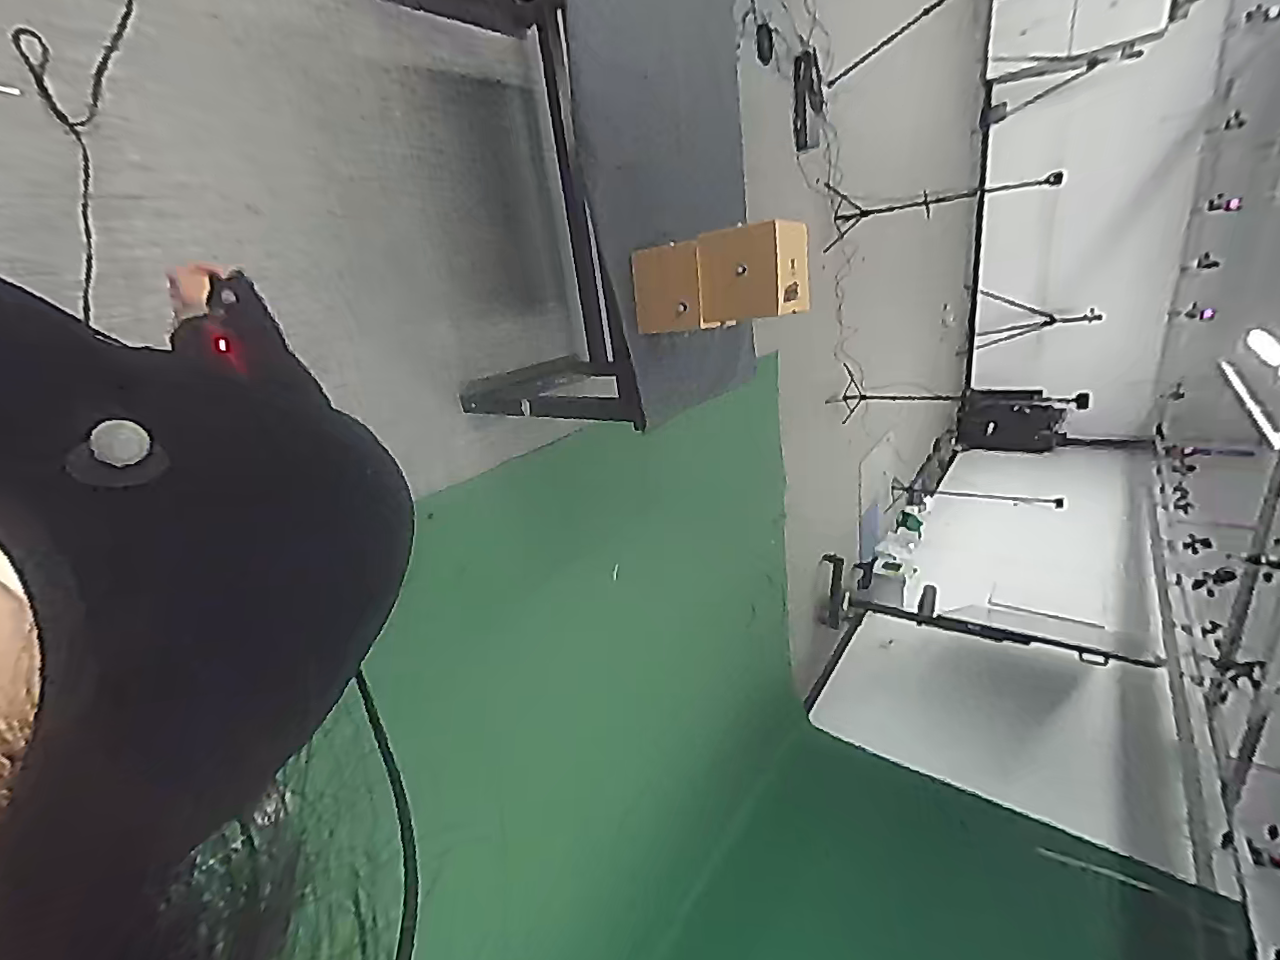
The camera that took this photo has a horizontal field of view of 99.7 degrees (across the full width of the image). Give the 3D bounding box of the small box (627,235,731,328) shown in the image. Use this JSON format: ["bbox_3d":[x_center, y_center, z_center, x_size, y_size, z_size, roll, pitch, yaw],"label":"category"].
[{"bbox_3d":[0.088,-0.437,1.211,0.168,0.176,0.179,-26,115,-50],"label":"small box"}]

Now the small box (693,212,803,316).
[{"bbox_3d":[0.226,-0.438,1.119,0.168,0.176,0.179,-28,116,-49],"label":"small box"}]
